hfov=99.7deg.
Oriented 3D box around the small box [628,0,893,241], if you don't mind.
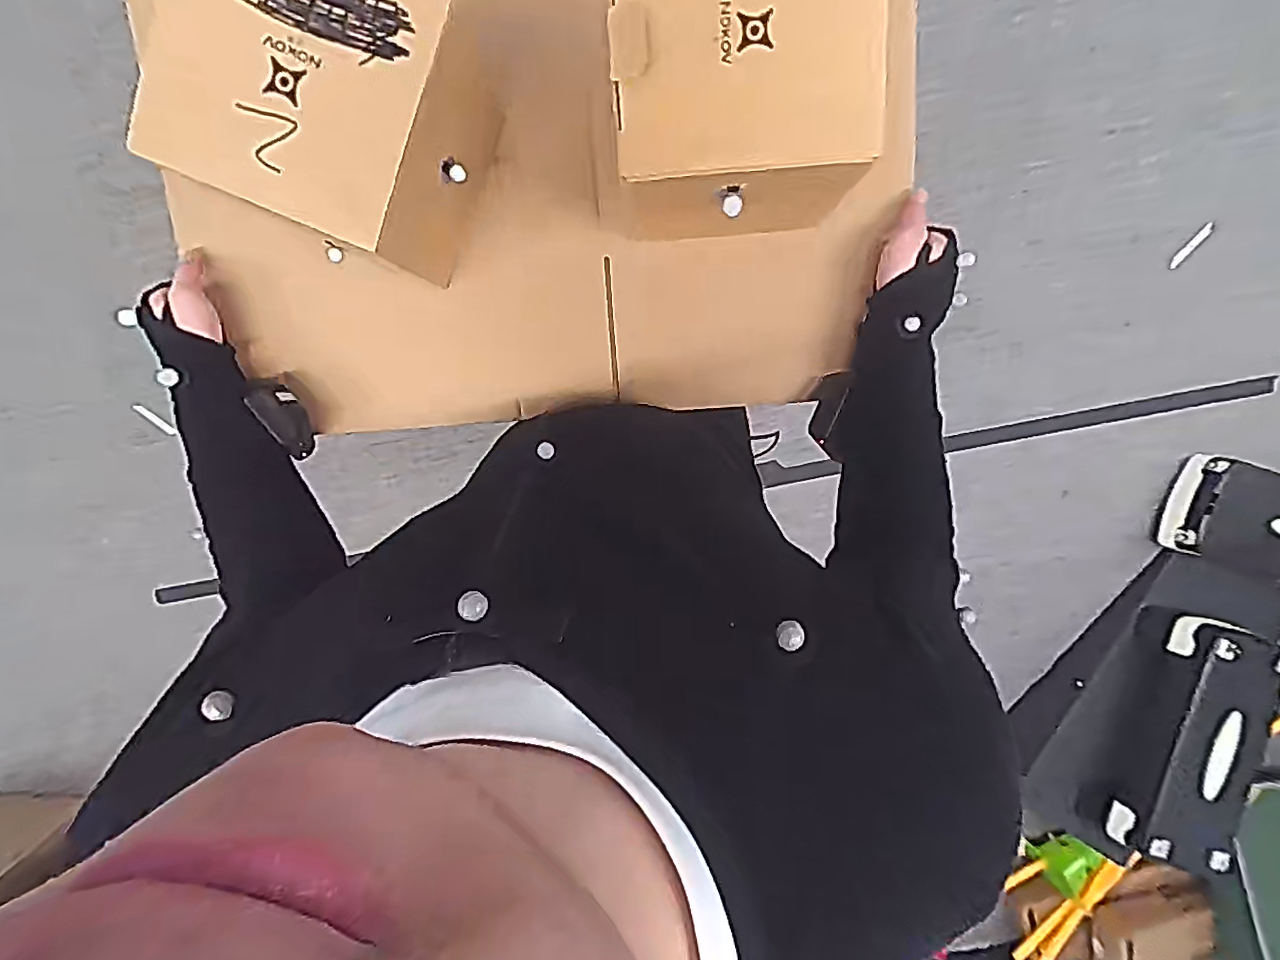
[{"bbox_3d":[0.084,-0.303,0.441,0.179,0.176,0.168,-1,101,5],"label":"small box"}]
